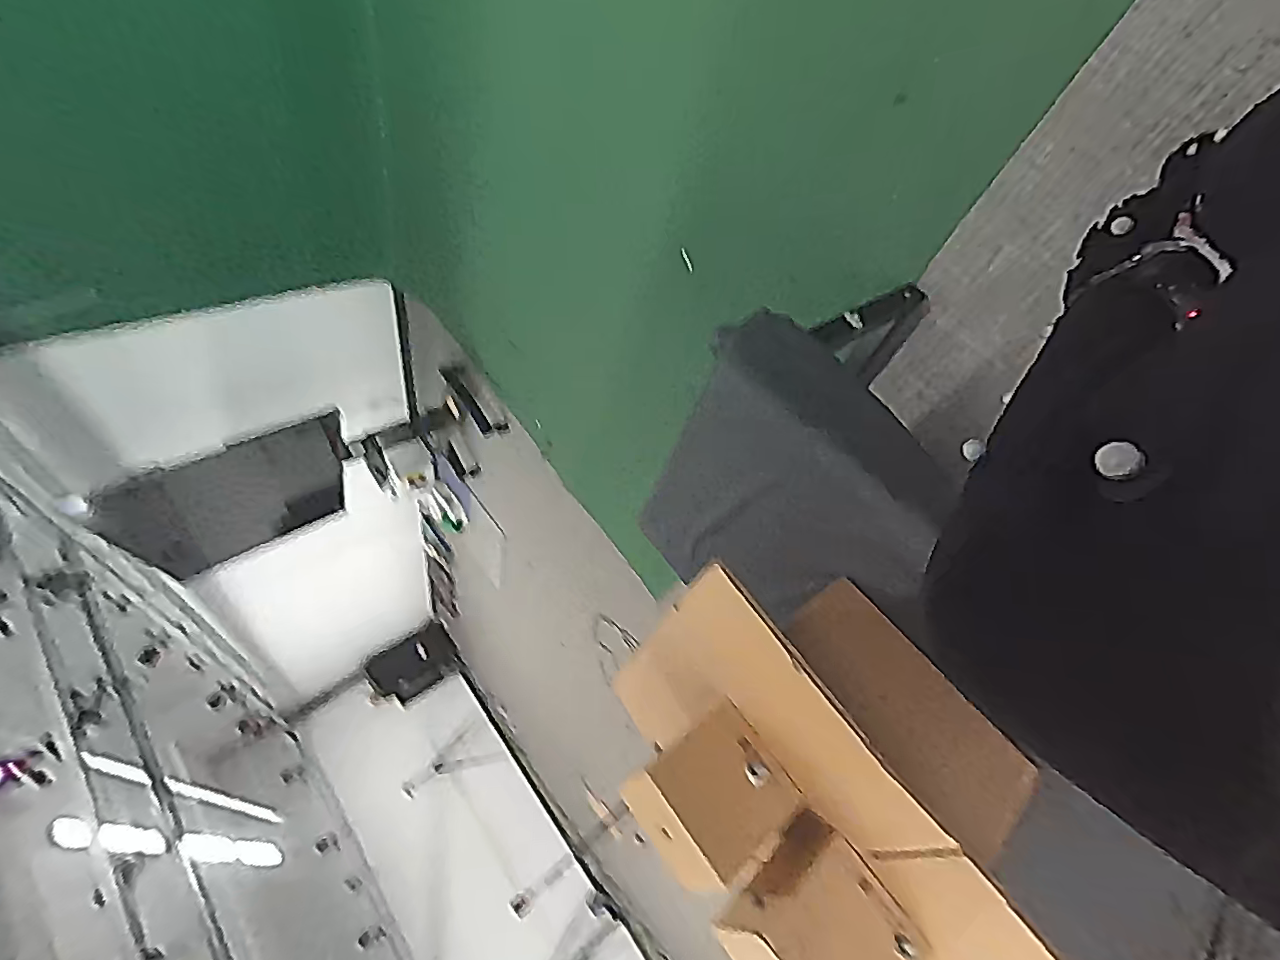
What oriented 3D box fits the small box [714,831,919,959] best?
[{"bbox_3d":[0.237,0.605,0.724,0.168,0.176,0.179,49,146,19],"label":"small box"}]
